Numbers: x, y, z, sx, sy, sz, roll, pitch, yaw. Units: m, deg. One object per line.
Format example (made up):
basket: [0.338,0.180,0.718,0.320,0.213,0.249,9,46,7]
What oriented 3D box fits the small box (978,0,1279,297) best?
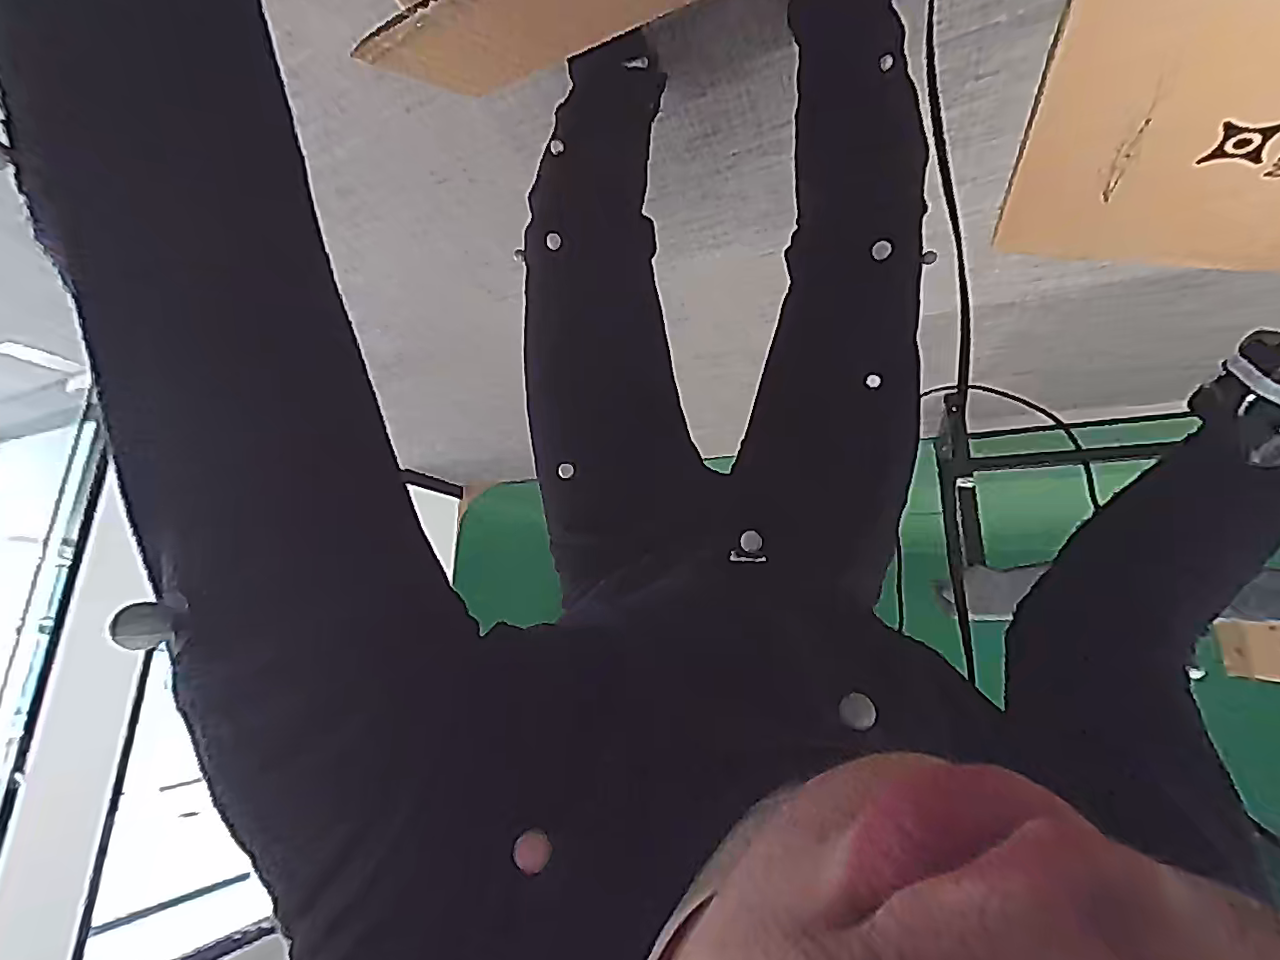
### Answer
small box: [0.295,-0.213,0.252,0.179,0.176,0.168,18,168,23]

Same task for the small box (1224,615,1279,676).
small box: [1.899,0.490,1.607,0.168,0.176,0.179,-8,163,28]
